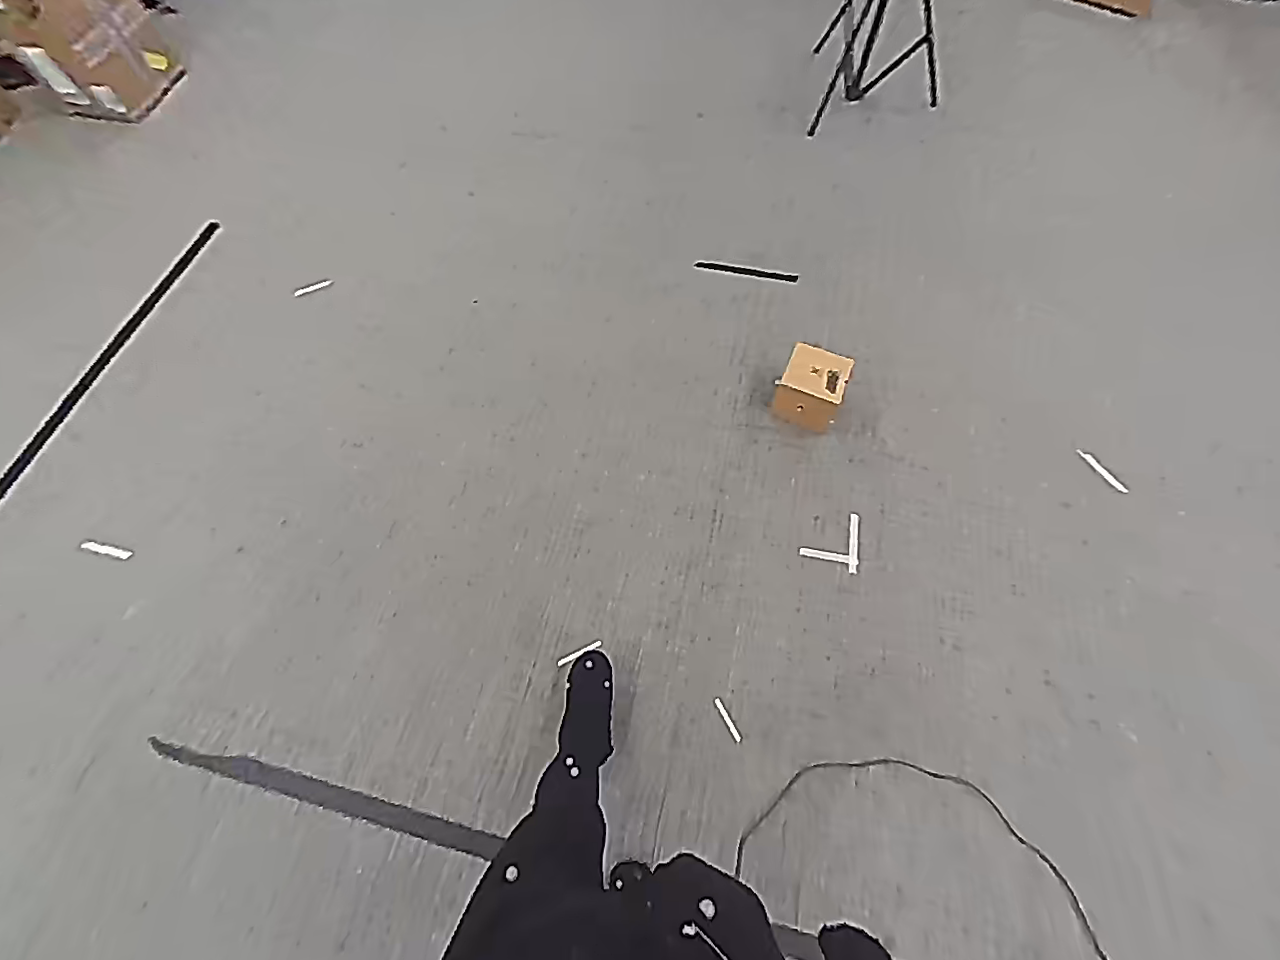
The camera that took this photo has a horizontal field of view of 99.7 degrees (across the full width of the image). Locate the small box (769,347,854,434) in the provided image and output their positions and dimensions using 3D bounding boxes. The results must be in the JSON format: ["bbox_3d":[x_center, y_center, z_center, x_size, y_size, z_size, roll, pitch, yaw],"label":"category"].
[{"bbox_3d":[0.506,-0.259,1.610,0.179,0.176,0.168,22,67,11],"label":"small box"}]
